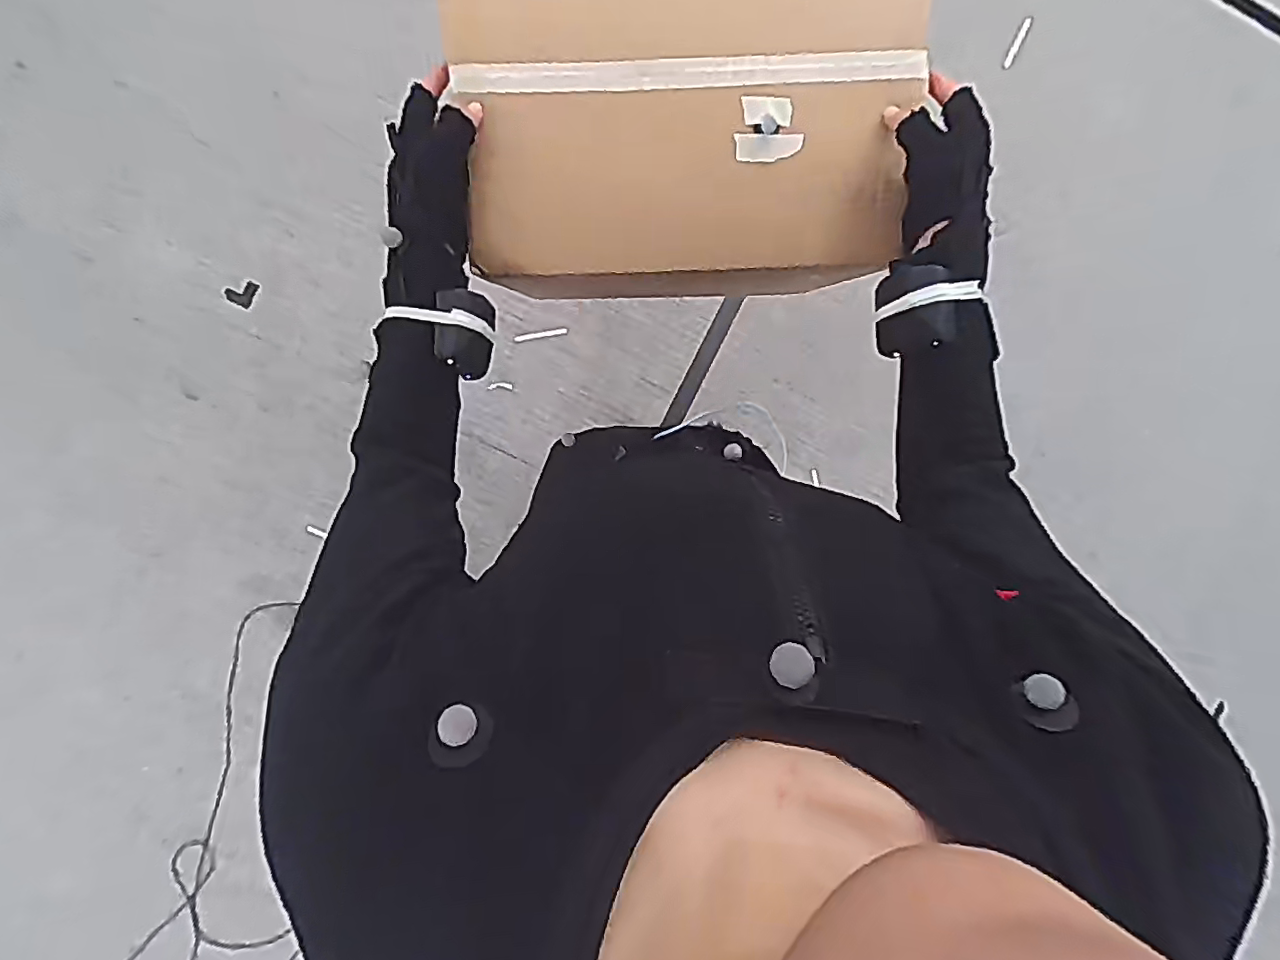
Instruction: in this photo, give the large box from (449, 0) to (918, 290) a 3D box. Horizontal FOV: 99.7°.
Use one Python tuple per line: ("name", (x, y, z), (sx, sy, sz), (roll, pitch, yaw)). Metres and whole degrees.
("large box", (0.034, -0.397, 0.610), (0.408, 0.320, 0.320), (-2, 106, -1))
